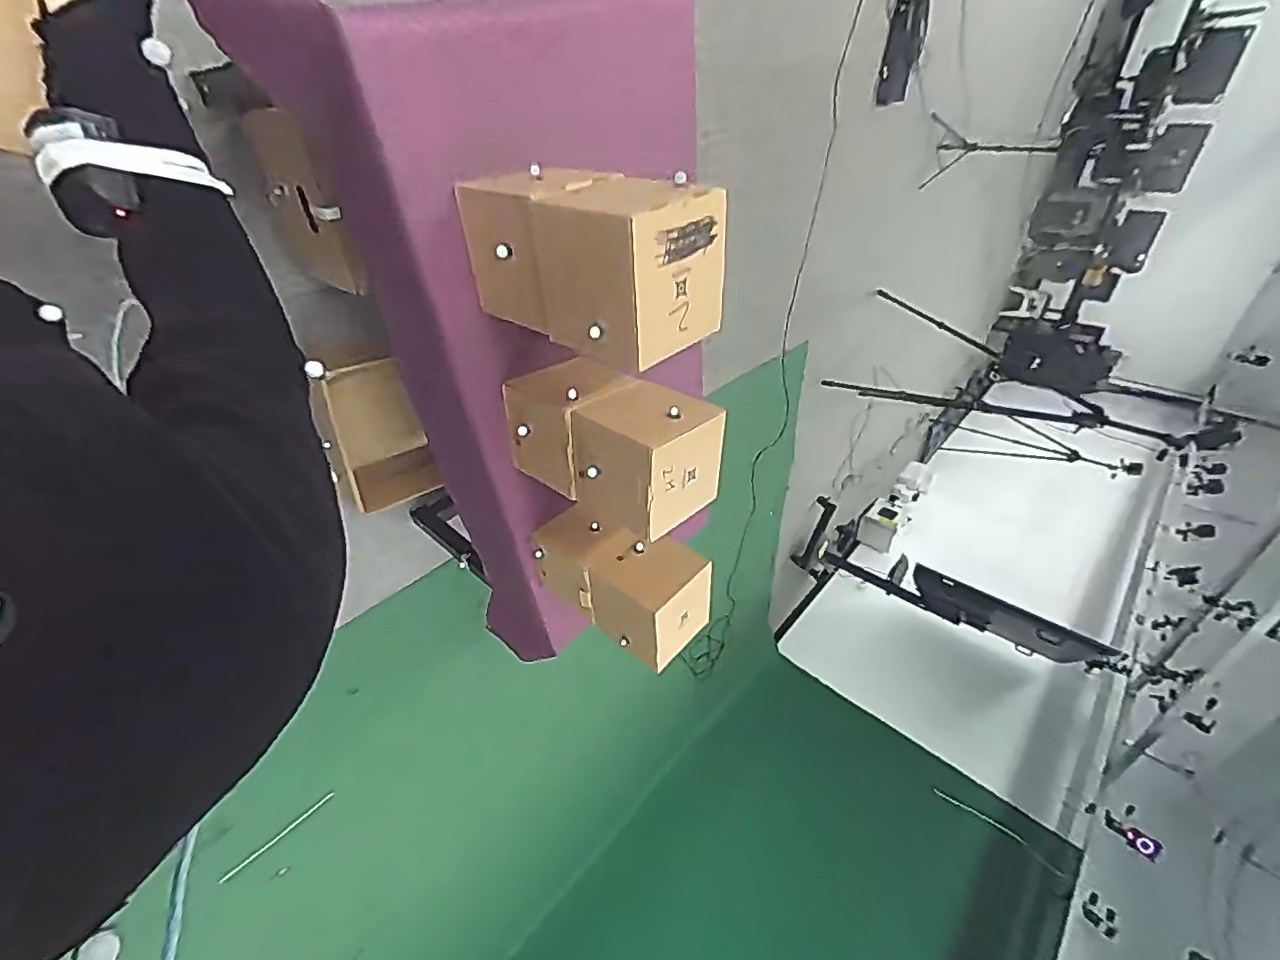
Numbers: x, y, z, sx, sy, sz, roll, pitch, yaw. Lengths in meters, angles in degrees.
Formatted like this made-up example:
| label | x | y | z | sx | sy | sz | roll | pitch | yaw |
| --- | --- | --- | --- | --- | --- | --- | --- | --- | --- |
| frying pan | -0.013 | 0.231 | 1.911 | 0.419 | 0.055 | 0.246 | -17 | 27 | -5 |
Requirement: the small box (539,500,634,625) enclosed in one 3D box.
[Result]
| label | x | y | z | sx | sy | sz | roll | pitch | yaw |
| --- | --- | --- | --- | --- | --- | --- | --- | --- | --- |
| small box | -0.098 | 0.163 | 1.149 | 0.179 | 0.176 | 0.168 | -35 | 137 | -34 |

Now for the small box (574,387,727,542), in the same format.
| label | x | y | z | sx | sy | sz | roll | pitch | yaw |
| --- | --- | --- | --- | --- | --- | --- | --- | --- | --- |
| small box | 0.014 | -0.036 | 0.872 | 0.179 | 0.176 | 0.168 | -28 | 133 | -38 |

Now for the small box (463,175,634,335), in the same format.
| label | x | y | z | sx | sy | sz | roll | pitch | yaw |
| --- | --- | --- | --- | --- | --- | --- | --- | --- | --- |
| small box | -0.128 | -0.331 | 0.777 | 0.168 | 0.176 | 0.179 | -34 | 135 | -33 |

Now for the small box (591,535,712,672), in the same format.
| label | x | y | z | sx | sy | sz | roll | pitch | yaw |
| --- | --- | --- | --- | --- | --- | --- | --- | --- | --- |
| small box | 0.022 | 0.228 | 1.060 | 0.168 | 0.176 | 0.179 | -34 | 136 | -36 |

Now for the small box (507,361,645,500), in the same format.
| label | x | y | z | sx | sy | sz | roll | pitch | yaw |
| --- | --- | --- | --- | --- | --- | --- | --- | --- | --- |
| small box | -0.110 | -0.098 | 0.961 | 0.179 | 0.176 | 0.168 | -29 | 134 | -37 |
